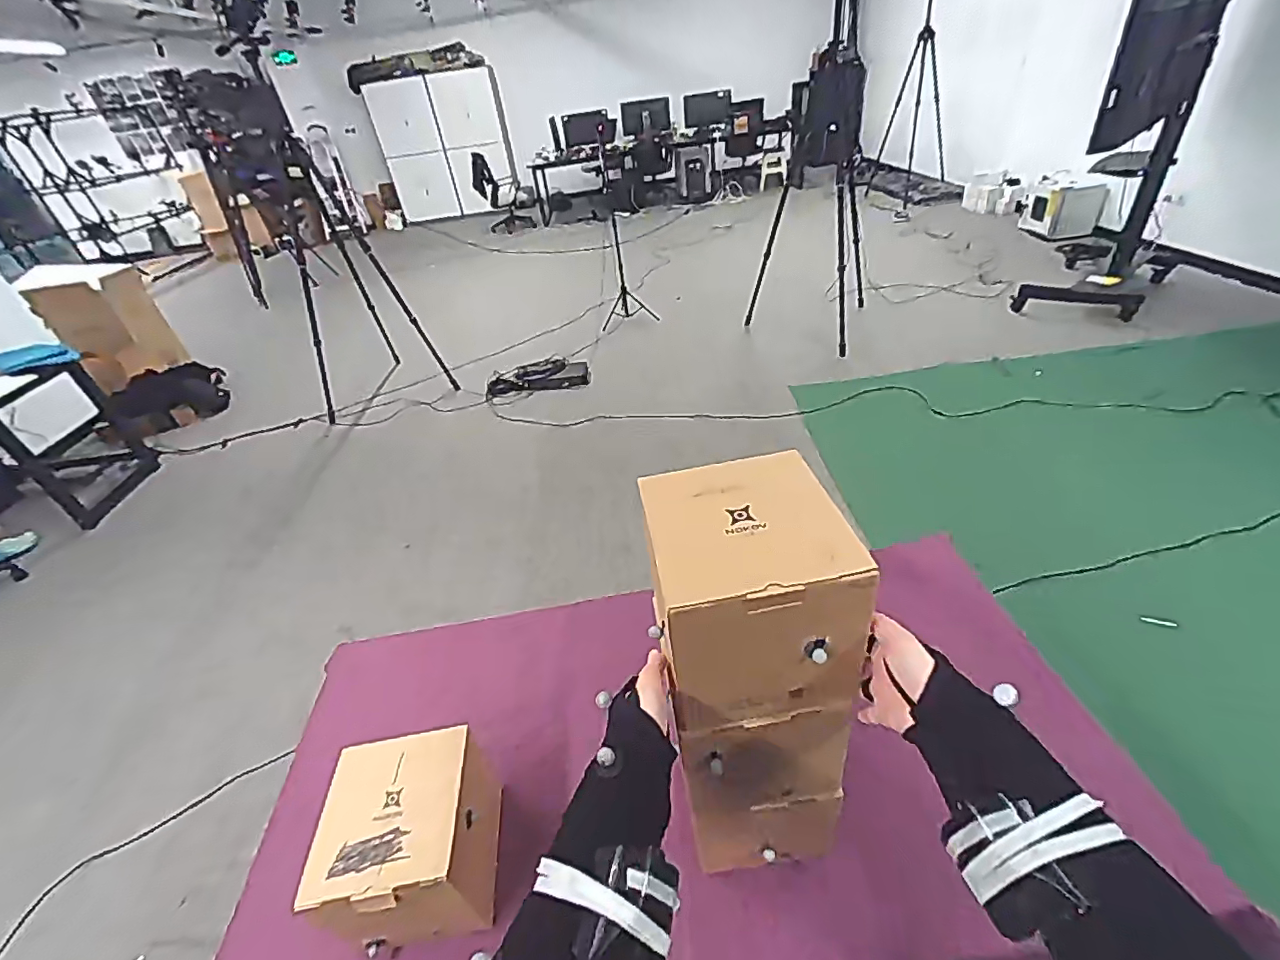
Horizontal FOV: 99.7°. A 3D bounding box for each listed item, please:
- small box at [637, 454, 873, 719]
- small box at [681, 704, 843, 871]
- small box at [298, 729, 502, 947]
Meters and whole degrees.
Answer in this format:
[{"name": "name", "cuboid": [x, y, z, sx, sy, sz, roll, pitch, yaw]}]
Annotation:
[{"name": "small box", "cuboid": [0.097, 0.103, 0.513, 0.168, 0.176, 0.179, -10, 35, -2]}, {"name": "small box", "cuboid": [0.145, 0.368, 0.700, 0.168, 0.176, 0.179, -9, 37, 1]}, {"name": "small box", "cuboid": [-0.280, 0.454, 0.682, 0.168, 0.176, 0.179, -11, 36, -2]}]
